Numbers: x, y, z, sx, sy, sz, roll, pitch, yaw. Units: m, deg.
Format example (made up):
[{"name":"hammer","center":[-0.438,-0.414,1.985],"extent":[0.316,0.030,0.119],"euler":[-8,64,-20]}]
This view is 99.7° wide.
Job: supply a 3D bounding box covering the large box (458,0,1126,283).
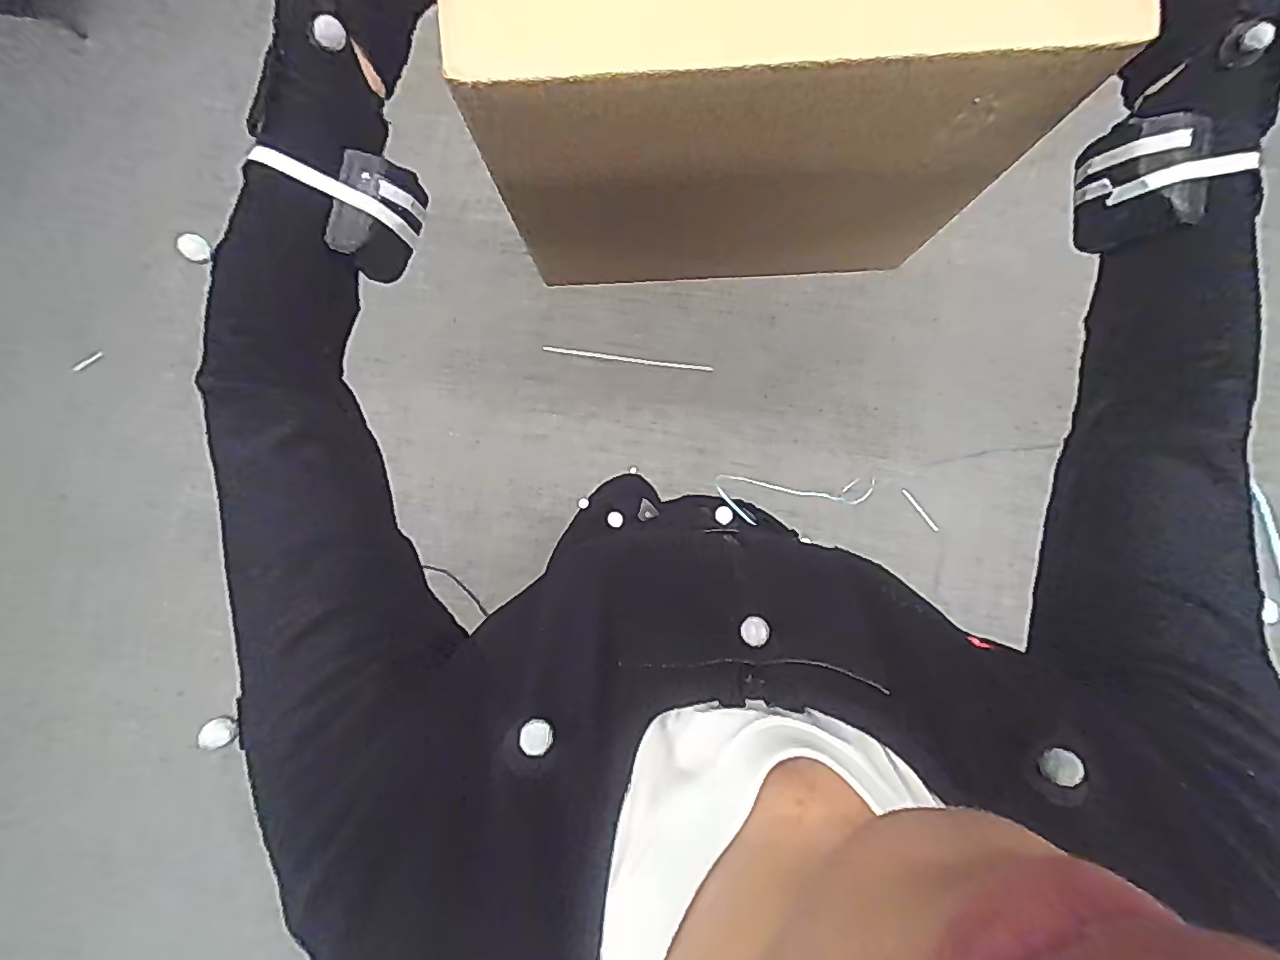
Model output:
[{"name":"large box","center":[0.080,-0.393,0.474],"extent":[0.408,0.320,0.320],"euler":[-3,89,0]}]
